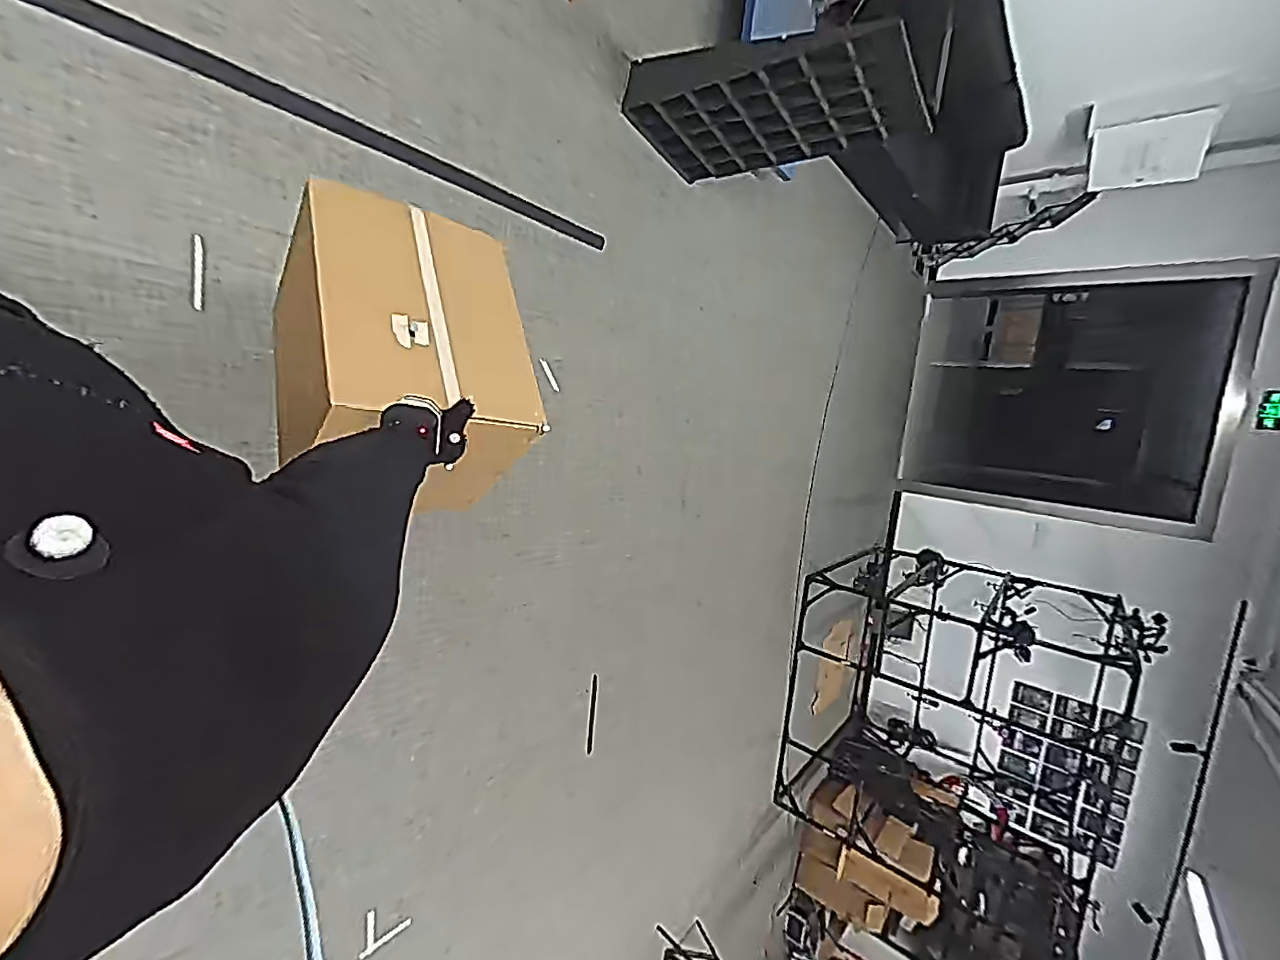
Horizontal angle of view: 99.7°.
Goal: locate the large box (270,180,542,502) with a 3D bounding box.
[{"bbox_3d":[-0.420,-0.204,0.939,0.320,0.320,0.408,1,64,-43],"label":"large box"}]
